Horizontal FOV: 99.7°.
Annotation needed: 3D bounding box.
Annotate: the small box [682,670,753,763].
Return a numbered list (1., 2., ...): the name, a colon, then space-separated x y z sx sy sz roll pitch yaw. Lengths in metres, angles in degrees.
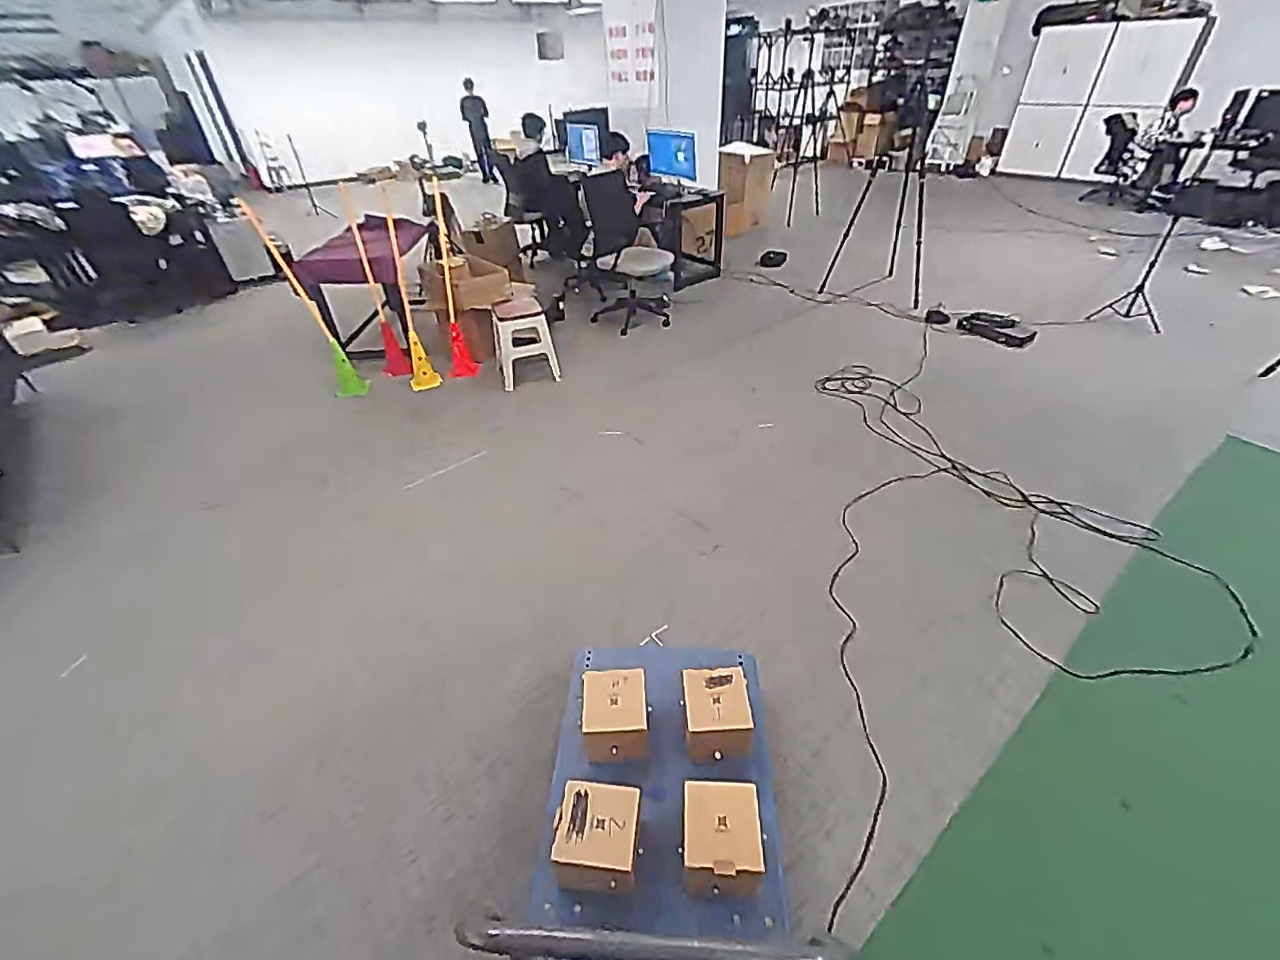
1. small box: 0.202 0.638 1.460 0.168 0.176 0.179 -3 38 0

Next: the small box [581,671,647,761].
1. small box: -0.067 0.644 1.466 0.168 0.176 0.179 -2 38 -1

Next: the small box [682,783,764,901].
1. small box: 0.181 0.821 1.228 0.168 0.176 0.179 1 38 4
